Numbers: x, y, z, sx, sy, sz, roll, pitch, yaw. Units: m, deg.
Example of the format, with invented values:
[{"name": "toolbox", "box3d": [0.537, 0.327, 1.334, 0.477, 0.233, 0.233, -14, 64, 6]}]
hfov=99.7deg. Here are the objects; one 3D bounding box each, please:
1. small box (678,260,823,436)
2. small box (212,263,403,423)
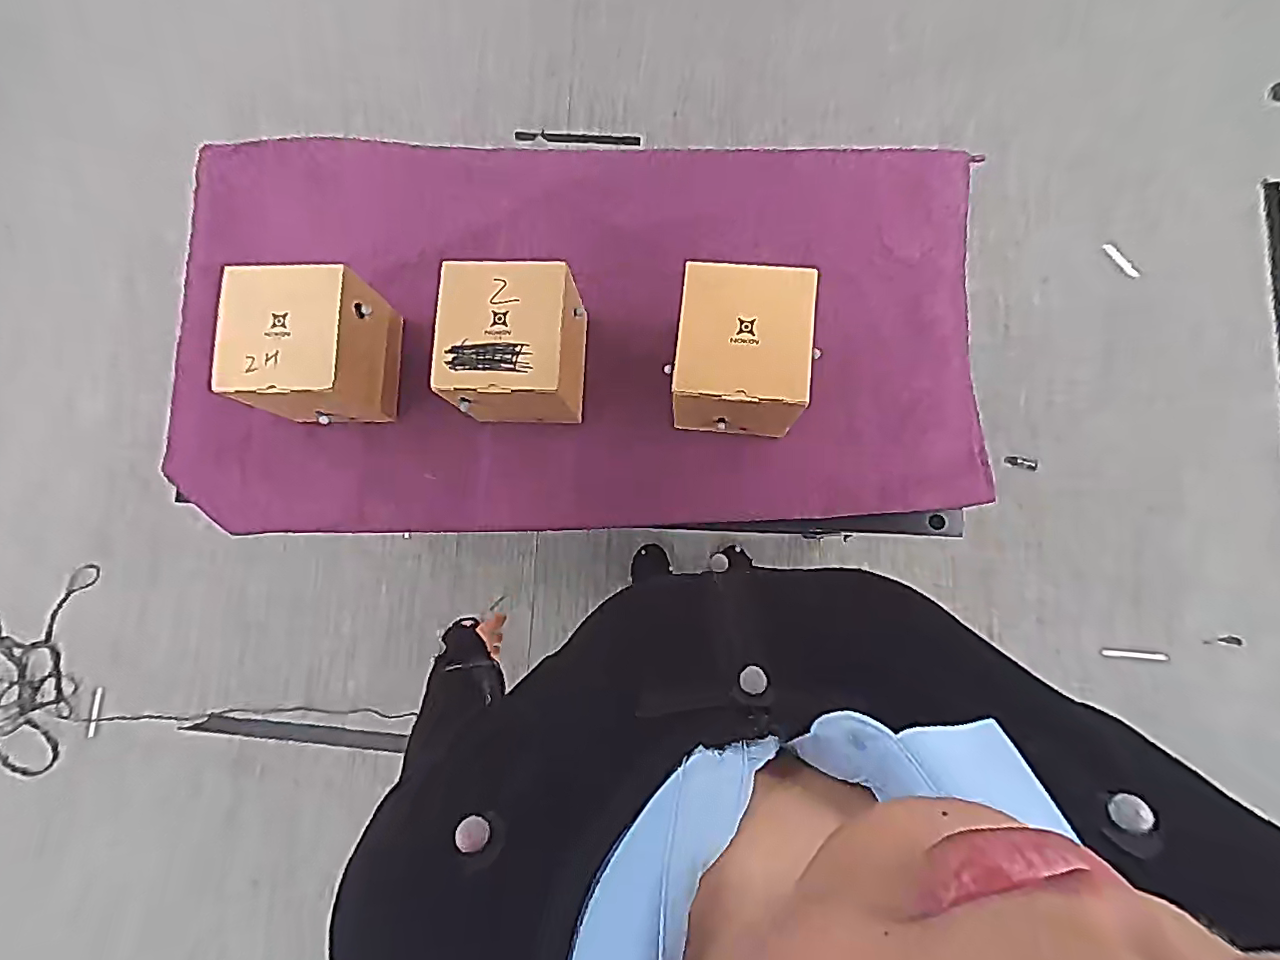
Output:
[{"name": "small box", "box3d": [0.141, -0.170, 0.735, 0.168, 0.176, 0.179, 5, 82, 5]}, {"name": "small box", "box3d": [-0.461, -0.187, 0.777, 0.168, 0.176, 0.179, 0, 83, 3]}]
